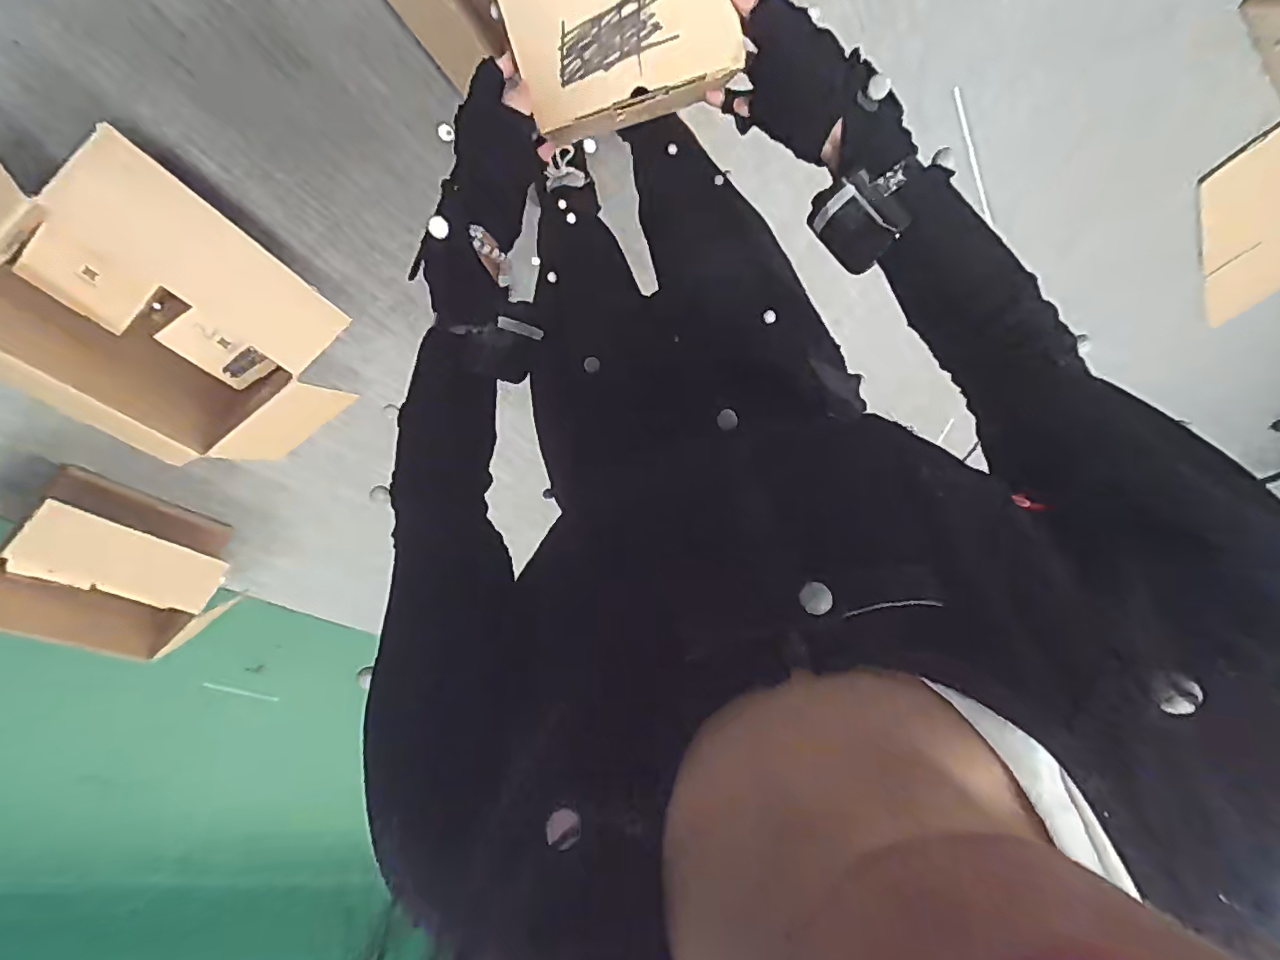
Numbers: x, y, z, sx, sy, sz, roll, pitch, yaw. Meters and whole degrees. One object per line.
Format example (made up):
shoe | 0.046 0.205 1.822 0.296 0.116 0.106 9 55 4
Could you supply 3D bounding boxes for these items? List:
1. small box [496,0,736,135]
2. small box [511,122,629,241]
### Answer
small box | -0.027 -0.405 0.446 0.168 0.176 0.179 -14 118 5
small box | -0.148 -0.633 1.115 0.179 0.176 0.168 31 131 -14
